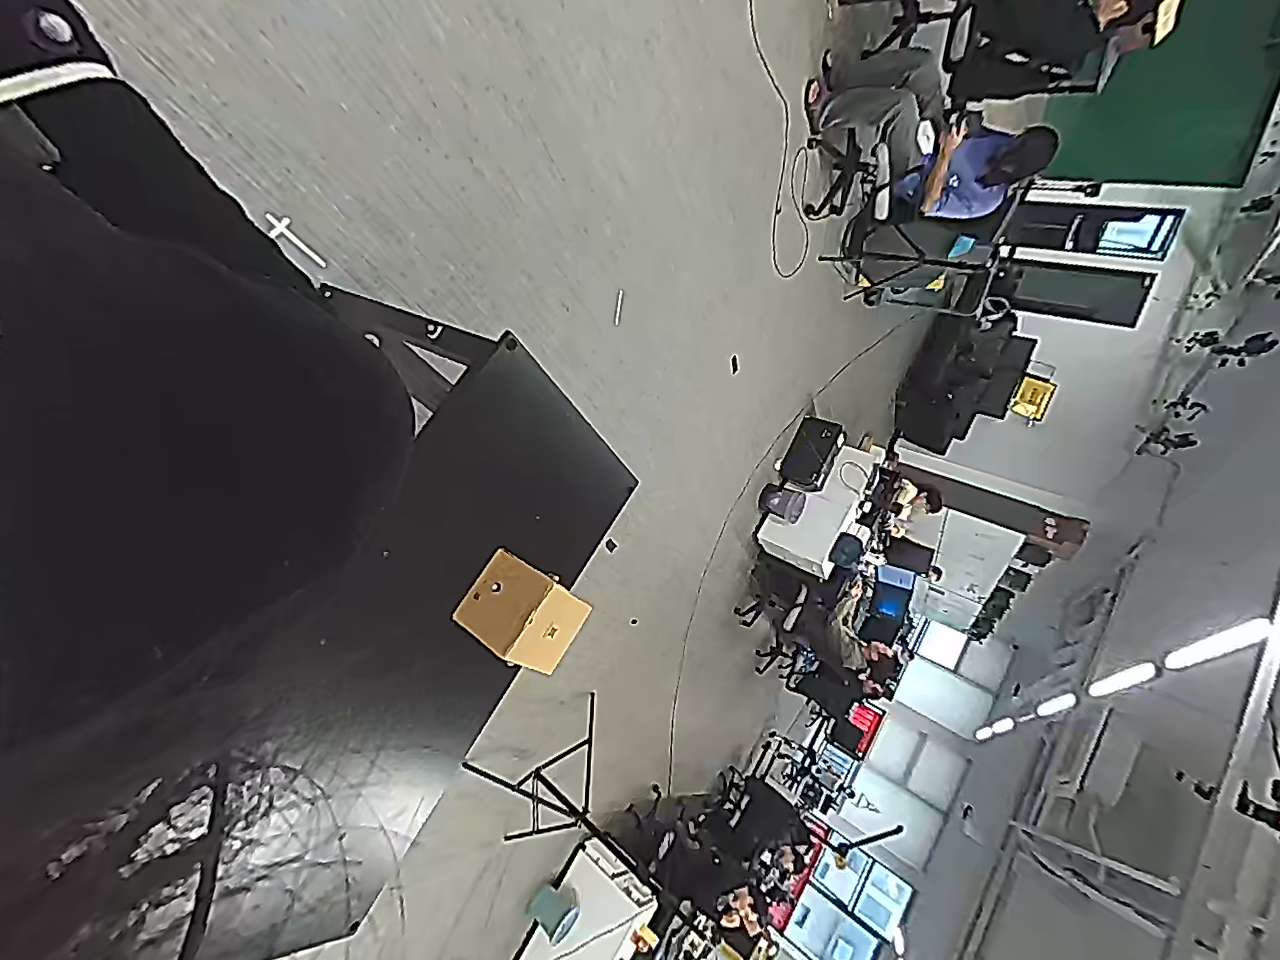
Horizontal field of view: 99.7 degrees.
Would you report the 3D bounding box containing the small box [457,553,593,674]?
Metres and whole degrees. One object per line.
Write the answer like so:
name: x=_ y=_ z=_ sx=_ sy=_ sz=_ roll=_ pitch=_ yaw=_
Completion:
small box: x=-0.236 y=0.275 z=1.123 sx=0.168 sy=0.176 sz=0.179 roll=-58 pitch=146 yaw=-13
